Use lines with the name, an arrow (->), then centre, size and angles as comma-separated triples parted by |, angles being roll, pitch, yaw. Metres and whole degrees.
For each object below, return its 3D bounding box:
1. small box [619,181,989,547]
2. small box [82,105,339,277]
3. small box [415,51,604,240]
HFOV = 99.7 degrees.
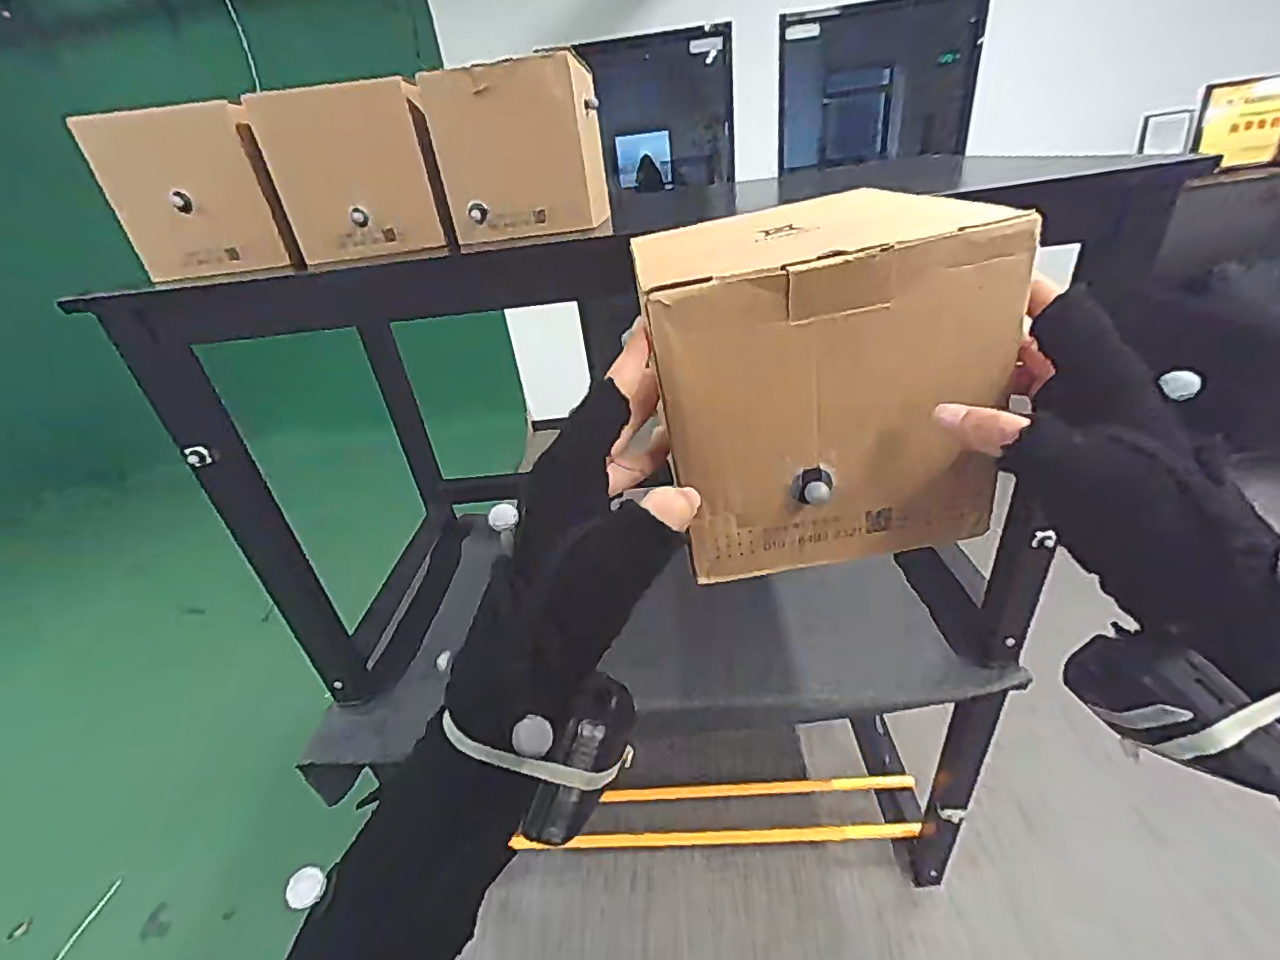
small box -> 0.082, -0.082, 0.349 | 0.168, 0.176, 0.179 | -11, 31, 3
small box -> -0.524, -0.365, 0.698 | 0.168, 0.176, 0.179 | -7, 29, -2
small box -> -0.144, -0.403, 0.674 | 0.168, 0.176, 0.179 | -4, 29, 7
